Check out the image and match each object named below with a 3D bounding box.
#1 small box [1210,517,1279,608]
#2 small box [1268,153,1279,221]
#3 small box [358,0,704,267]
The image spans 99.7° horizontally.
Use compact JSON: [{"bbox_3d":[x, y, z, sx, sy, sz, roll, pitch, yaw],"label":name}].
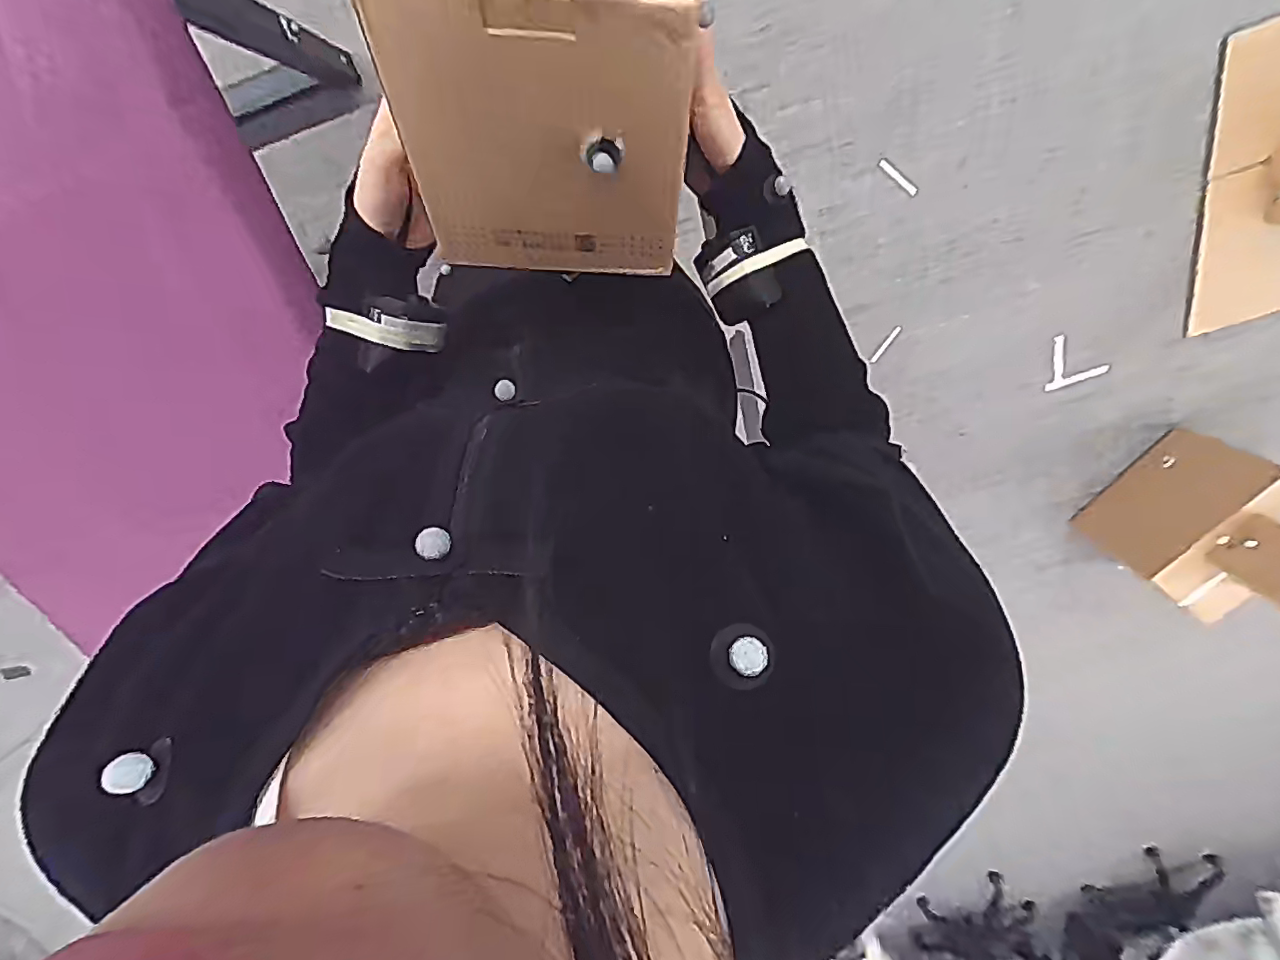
[{"bbox_3d":[1.628,0.221,1.363,0.179,0.176,0.168,29,112,-15],"label":"small box"},{"bbox_3d":[1.612,-0.707,1.229,0.179,0.176,0.168,-25,113,10],"label":"small box"},{"bbox_3d":[-0.051,-0.265,0.353,0.168,0.179,0.176,3,154,-3],"label":"small box"}]
